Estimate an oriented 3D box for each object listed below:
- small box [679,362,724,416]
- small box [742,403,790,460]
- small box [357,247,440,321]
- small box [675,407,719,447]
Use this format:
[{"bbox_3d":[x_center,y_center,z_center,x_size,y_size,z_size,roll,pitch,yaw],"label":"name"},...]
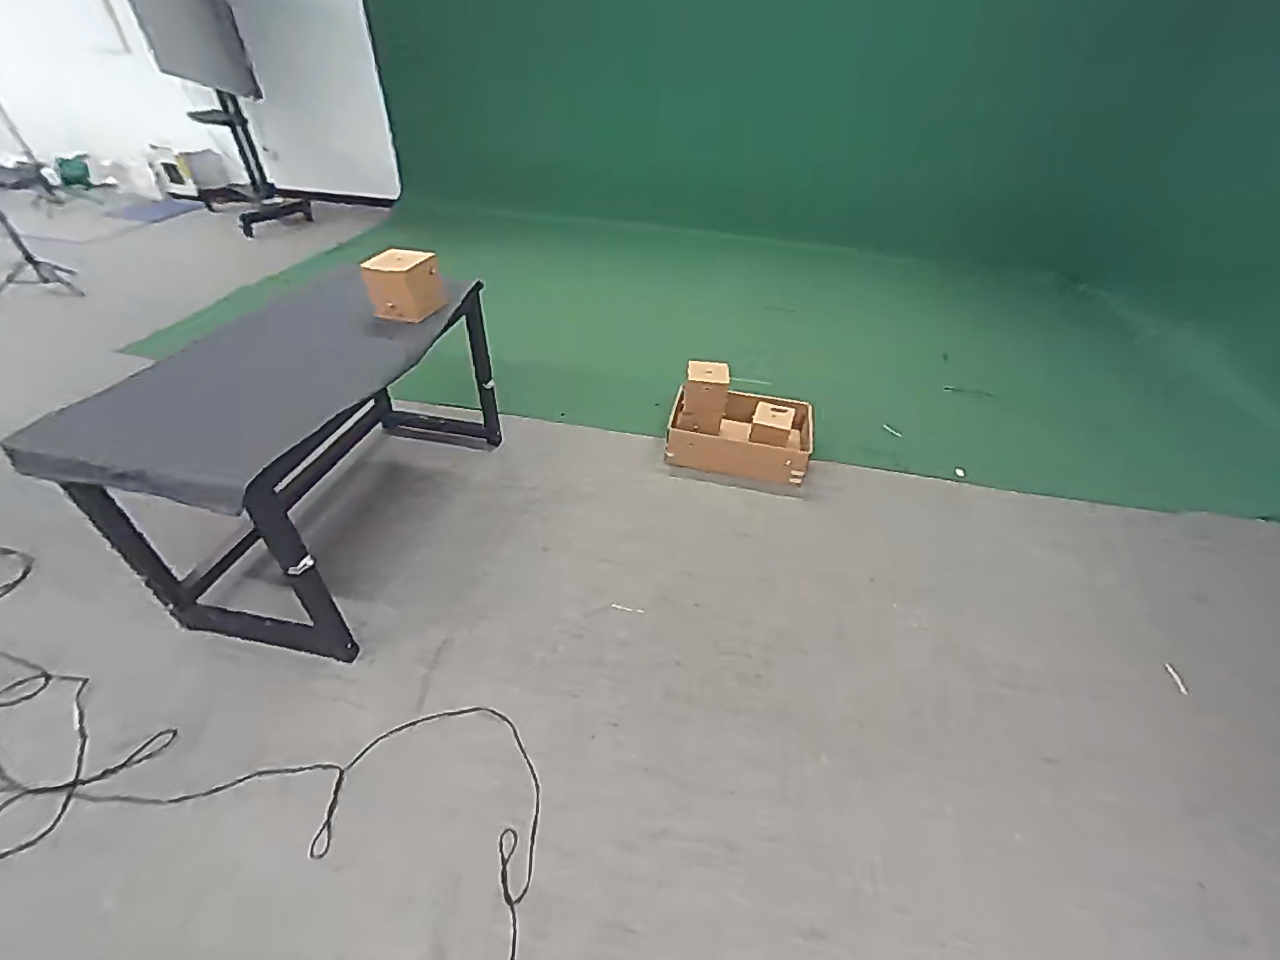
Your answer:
[{"bbox_3d":[0.266,-0.396,2.366,0.179,0.176,0.168,6,42,-1],"label":"small box"},{"bbox_3d":[0.565,-0.217,2.438,0.168,0.176,0.179,15,43,13],"label":"small box"},{"bbox_3d":[-0.775,-0.639,1.760,0.168,0.176,0.179,11,42,11],"label":"small box"},{"bbox_3d":[0.261,-0.272,2.473,0.179,0.176,0.168,11,42,8],"label":"small box"}]
